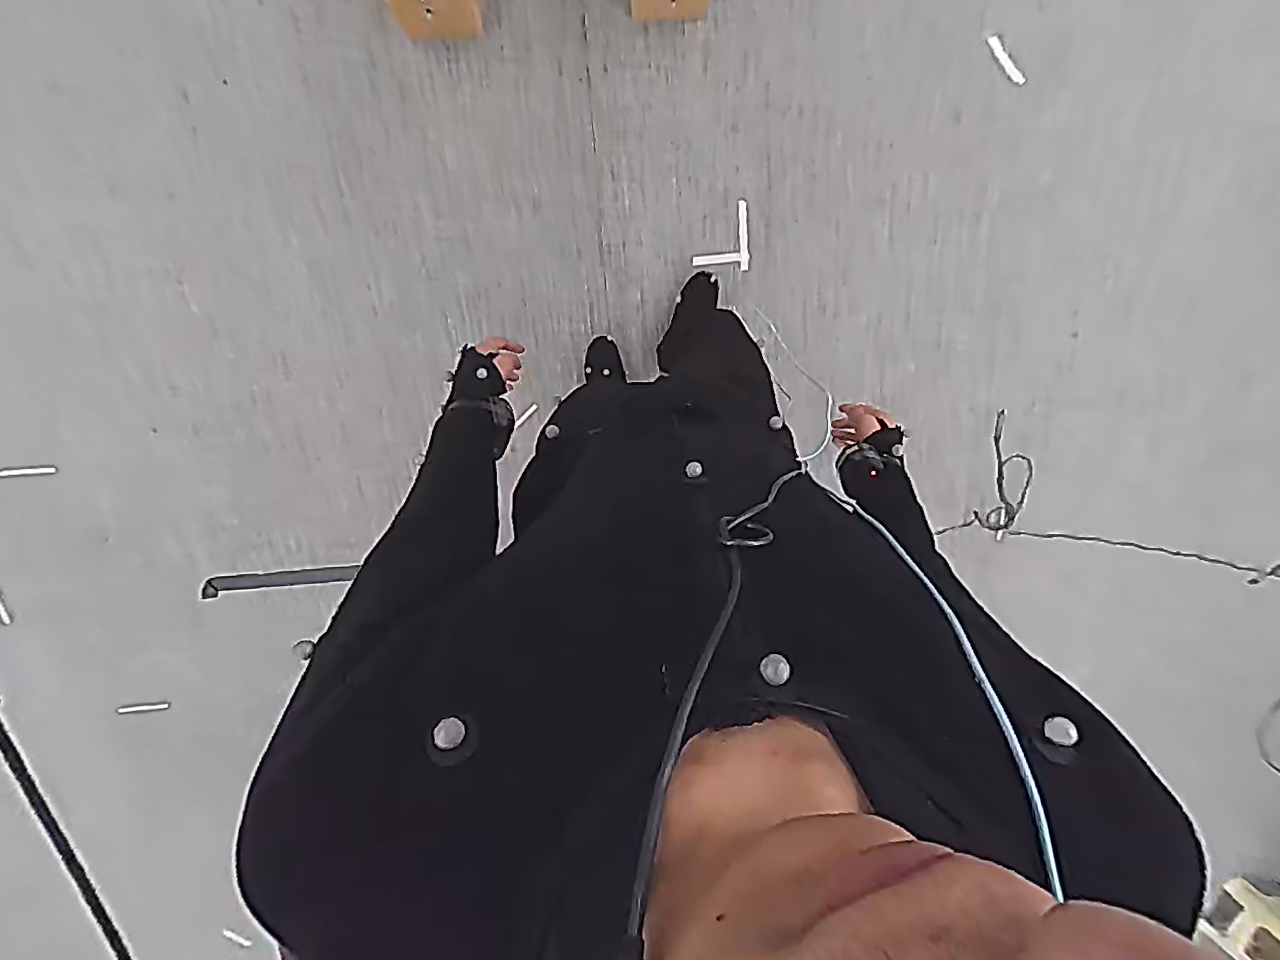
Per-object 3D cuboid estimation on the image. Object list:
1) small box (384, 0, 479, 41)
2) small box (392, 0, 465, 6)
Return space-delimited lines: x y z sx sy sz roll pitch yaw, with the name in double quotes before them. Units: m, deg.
"small box" -0.458 -1.093 1.178 0.179 0.176 0.168 -6 109 -3
"small box" -0.438 -1.046 1.021 0.168 0.176 0.179 -5 109 -3
